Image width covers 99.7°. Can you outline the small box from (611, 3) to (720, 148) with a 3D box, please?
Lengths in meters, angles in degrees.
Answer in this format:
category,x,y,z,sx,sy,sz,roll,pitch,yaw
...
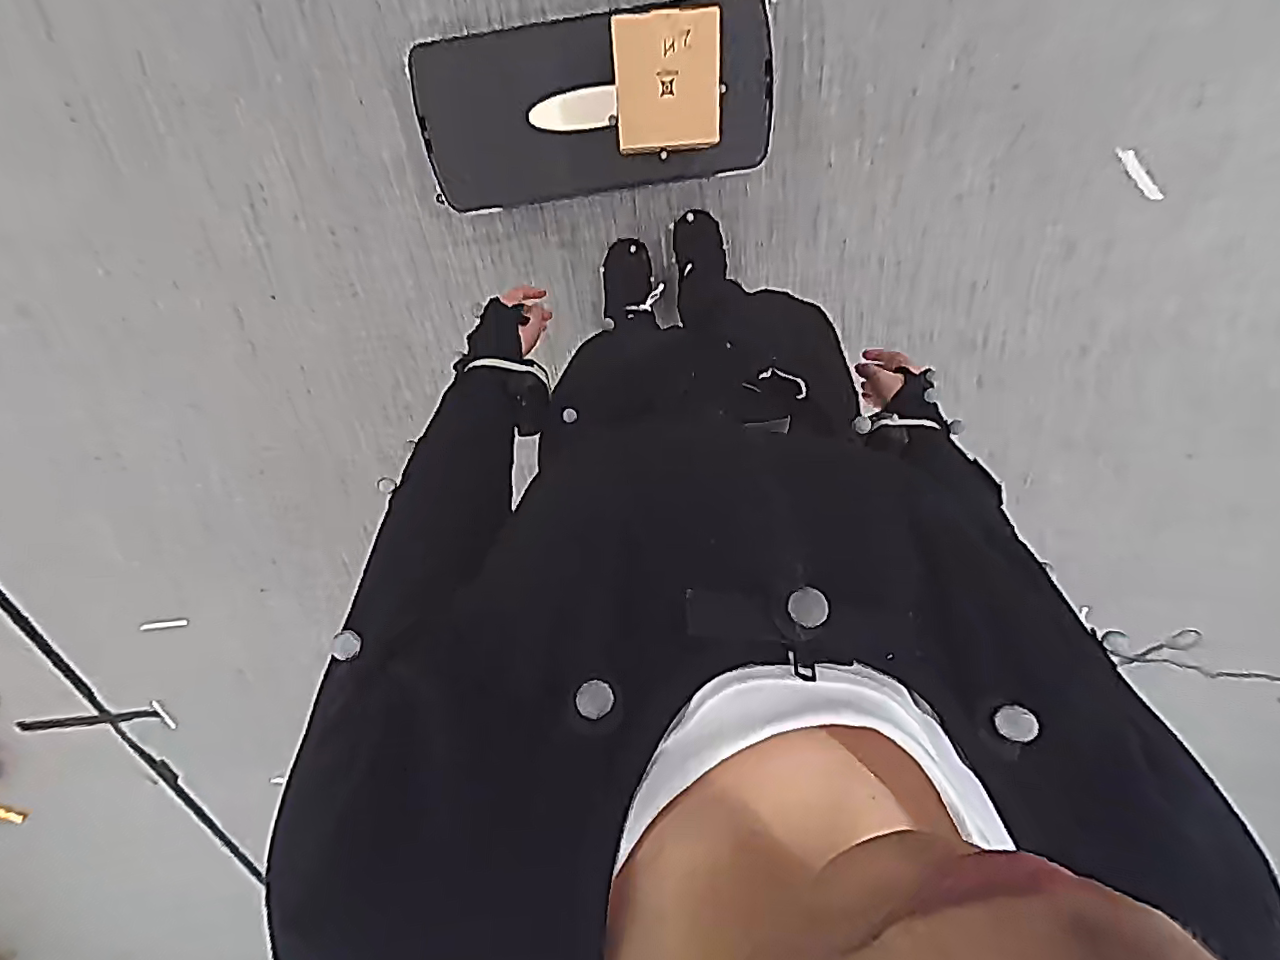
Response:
category,x,y,z,sx,sy,sz,roll,pitch,yaw
small box,0.041,-0.669,0.915,0.168,0.176,0.179,-4,119,0
